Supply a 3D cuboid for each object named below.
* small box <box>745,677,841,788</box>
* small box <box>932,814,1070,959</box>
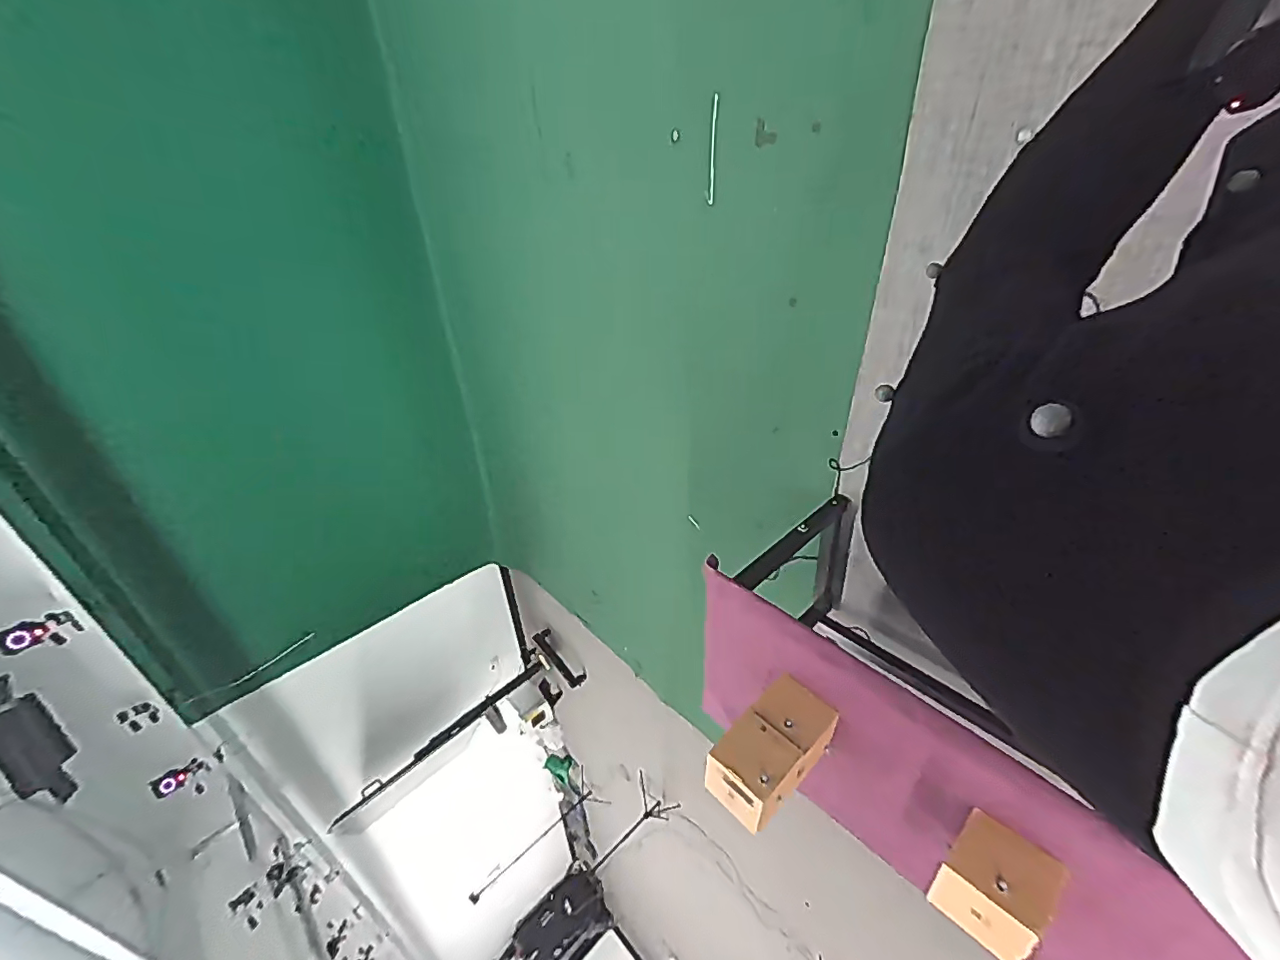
[{"bbox_3d":[0.409,0.667,1.446,0.179,0.176,0.168,31,136,37],"label":"small box"},{"bbox_3d":[0.751,0.844,1.130,0.179,0.176,0.168,26,133,40],"label":"small box"}]
